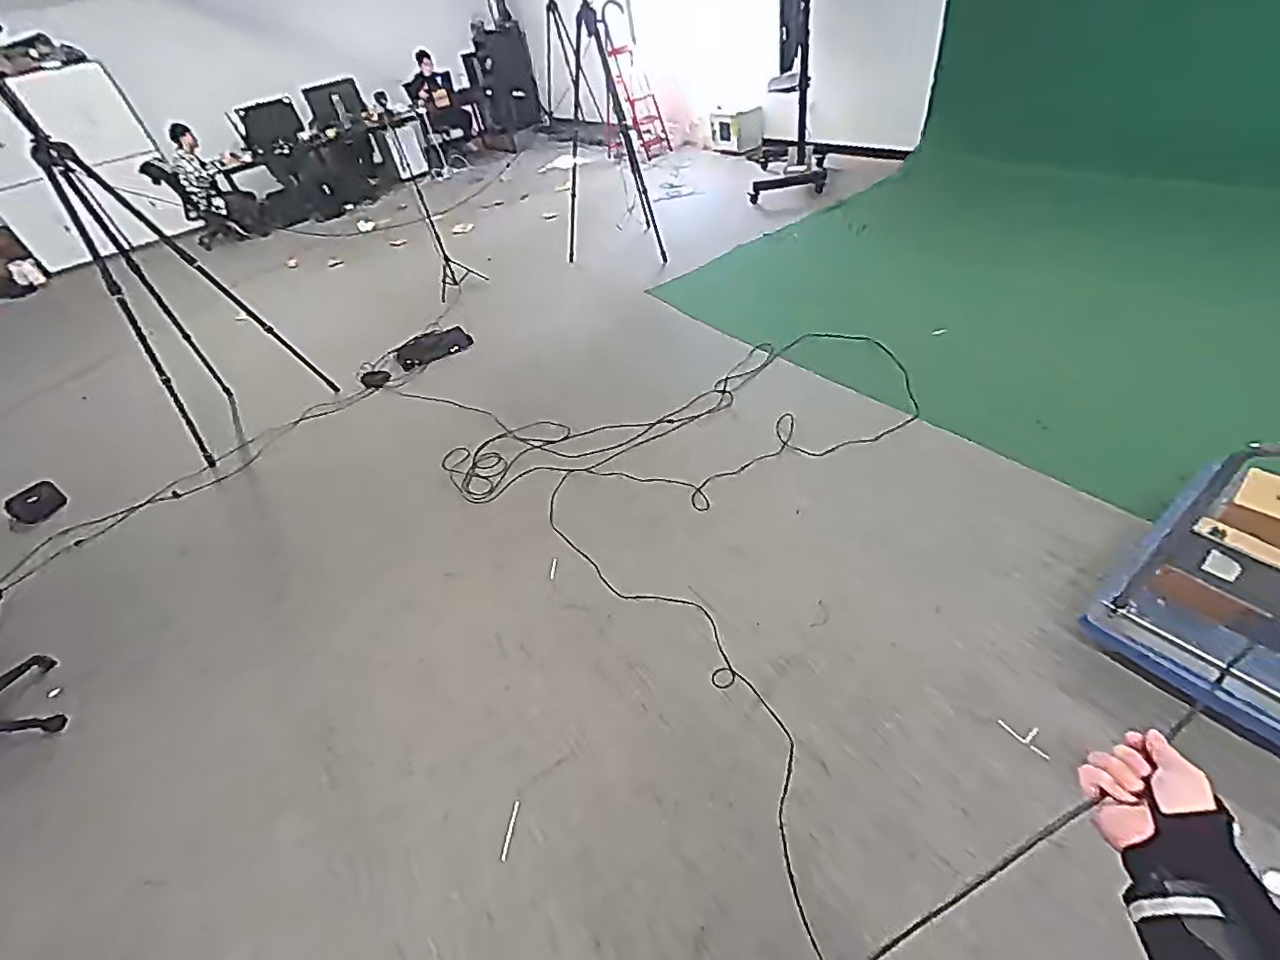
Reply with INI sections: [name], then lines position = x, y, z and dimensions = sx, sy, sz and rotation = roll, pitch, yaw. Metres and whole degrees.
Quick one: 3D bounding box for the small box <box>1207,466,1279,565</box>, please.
[small box]
position = 1.731, 0.100, 1.489
dimensions = 0.179, 0.176, 0.168
rotation = -36, 48, -23
